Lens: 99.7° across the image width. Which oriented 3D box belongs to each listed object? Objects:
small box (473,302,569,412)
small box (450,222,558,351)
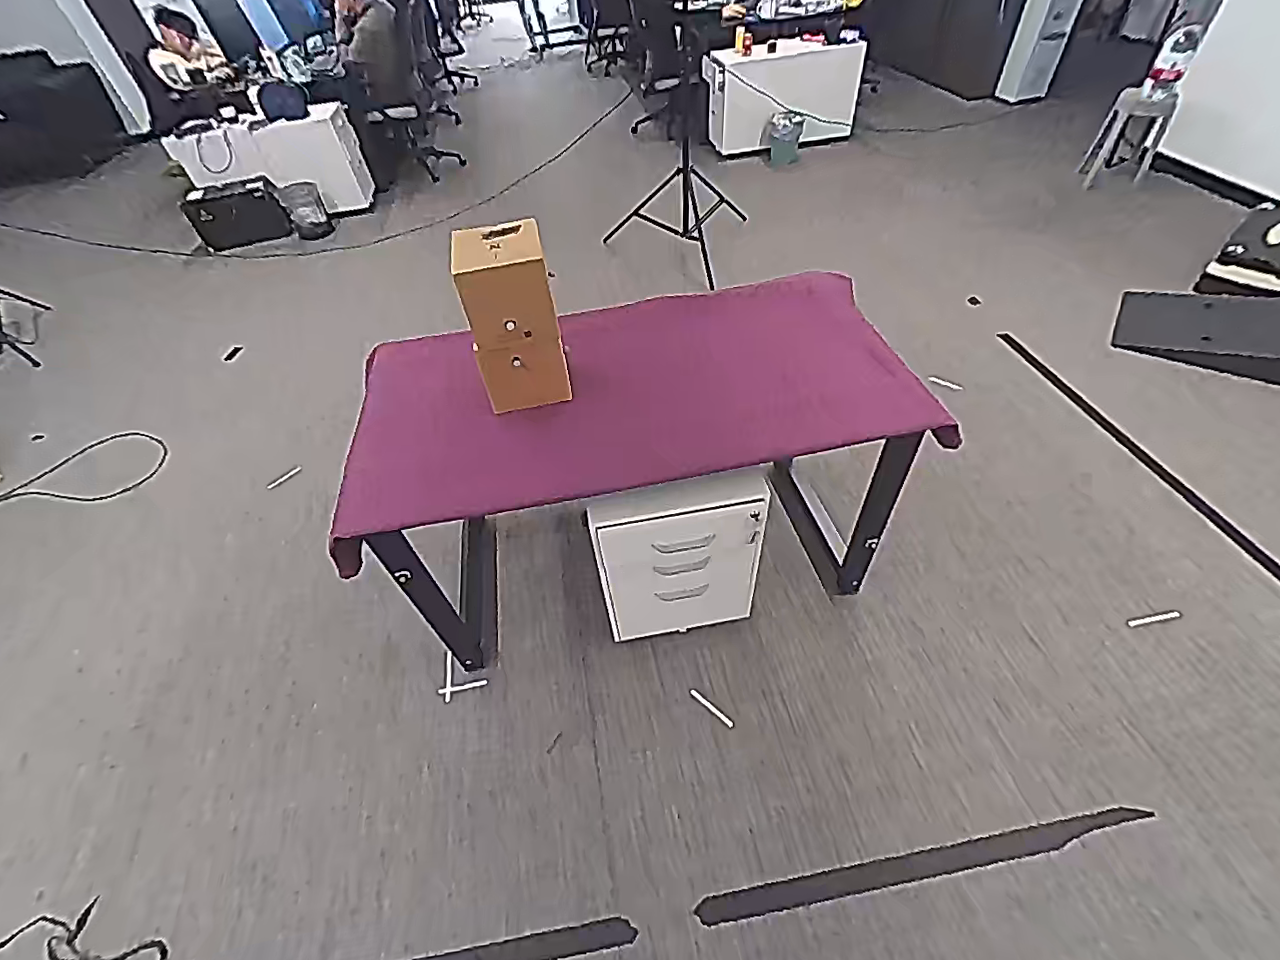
[{"bbox_3d":[-0.257,-0.272,1.192,0.179,0.176,0.168,-11,49,-4],"label":"small box"},{"bbox_3d":[-0.264,-0.381,1.069,0.168,0.176,0.179,-12,49,-4],"label":"small box"}]
